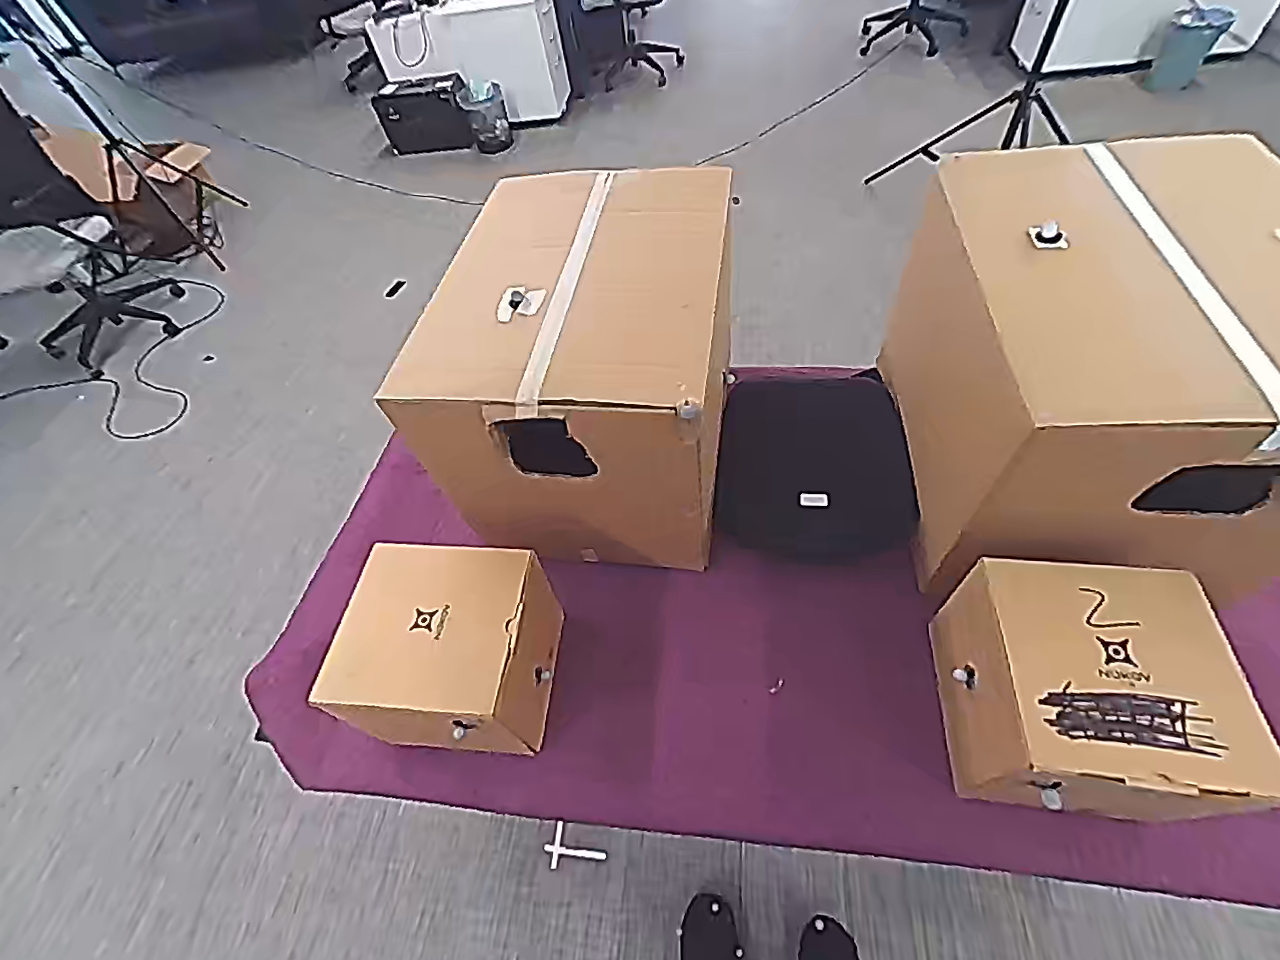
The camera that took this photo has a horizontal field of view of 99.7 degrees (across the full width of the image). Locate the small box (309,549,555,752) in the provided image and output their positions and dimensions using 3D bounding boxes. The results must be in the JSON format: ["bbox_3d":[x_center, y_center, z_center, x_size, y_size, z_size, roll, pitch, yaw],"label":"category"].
[{"bbox_3d":[-0.204,0.190,0.592,0.179,0.176,0.168,1,53,5],"label":"small box"}]

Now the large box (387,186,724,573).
[{"bbox_3d":[-0.054,-0.130,0.722,0.320,0.320,0.408,3,57,11],"label":"large box"}]
